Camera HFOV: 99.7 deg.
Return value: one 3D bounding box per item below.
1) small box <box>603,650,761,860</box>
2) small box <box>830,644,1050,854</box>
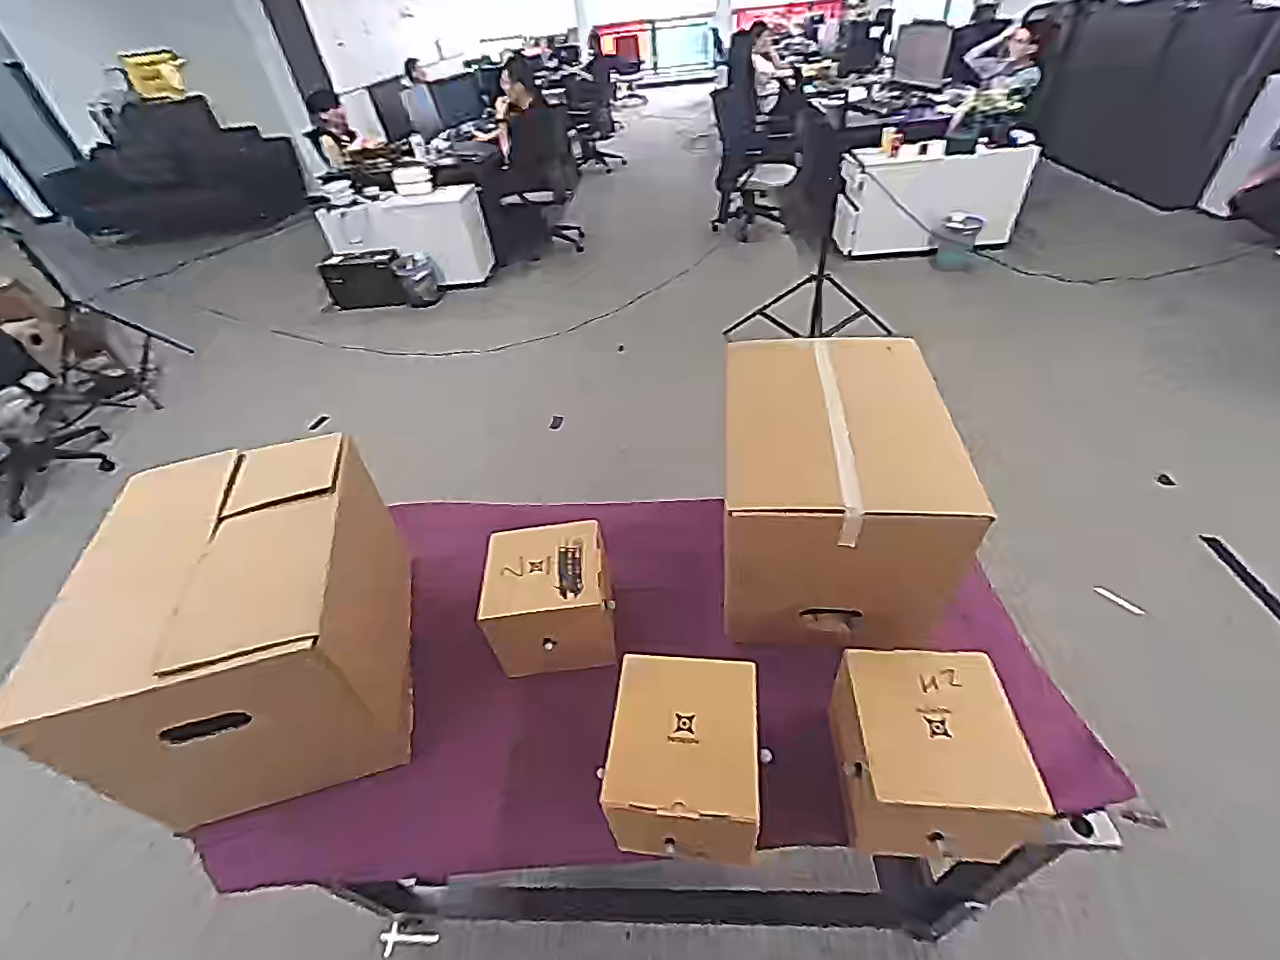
[{"bbox_3d":[0.058,0.336,0.667,0.168,0.176,0.179,1,43,9],"label":"small box"},{"bbox_3d":[0.331,0.319,0.642,0.168,0.176,0.179,-1,40,8],"label":"small box"}]
